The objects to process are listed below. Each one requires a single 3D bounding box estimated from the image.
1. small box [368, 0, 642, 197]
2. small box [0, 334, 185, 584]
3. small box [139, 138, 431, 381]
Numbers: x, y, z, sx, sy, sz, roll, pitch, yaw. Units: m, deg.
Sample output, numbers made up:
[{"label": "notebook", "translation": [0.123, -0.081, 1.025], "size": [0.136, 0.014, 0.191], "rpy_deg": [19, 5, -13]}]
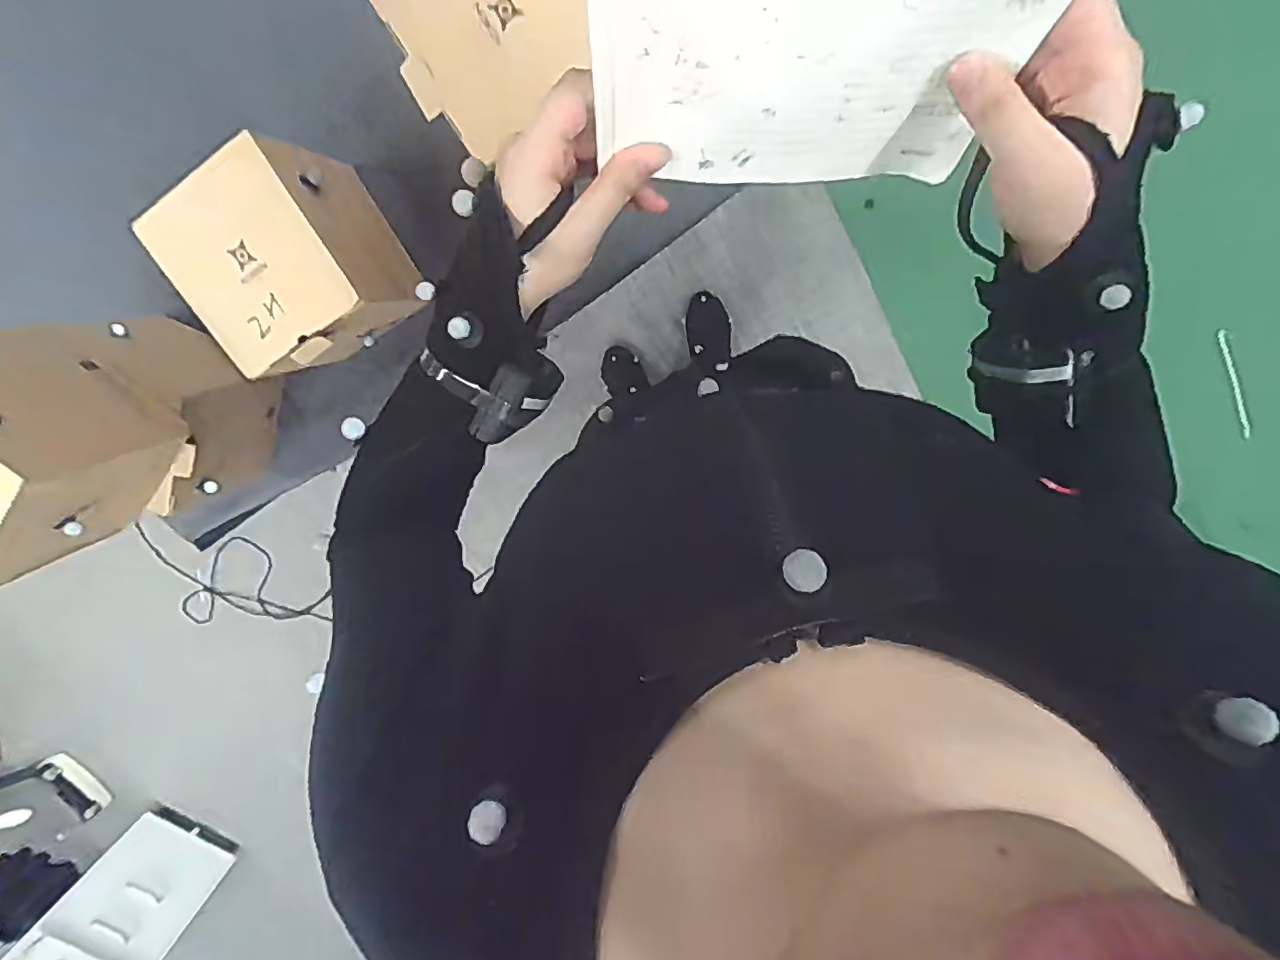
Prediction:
[{"label": "small box", "translation": [-0.109, -0.410, 0.527], "size": [0.179, 0.176, 0.168], "rpy_deg": [-31, 104, 15]}, {"label": "small box", "translation": [-0.614, -0.021, 0.535], "size": [0.168, 0.176, 0.179], "rpy_deg": [42, 109, -11]}, {"label": "small box", "translation": [-0.378, -0.236, 0.612], "size": [0.168, 0.176, 0.179], "rpy_deg": [-27, 105, 14]}]
